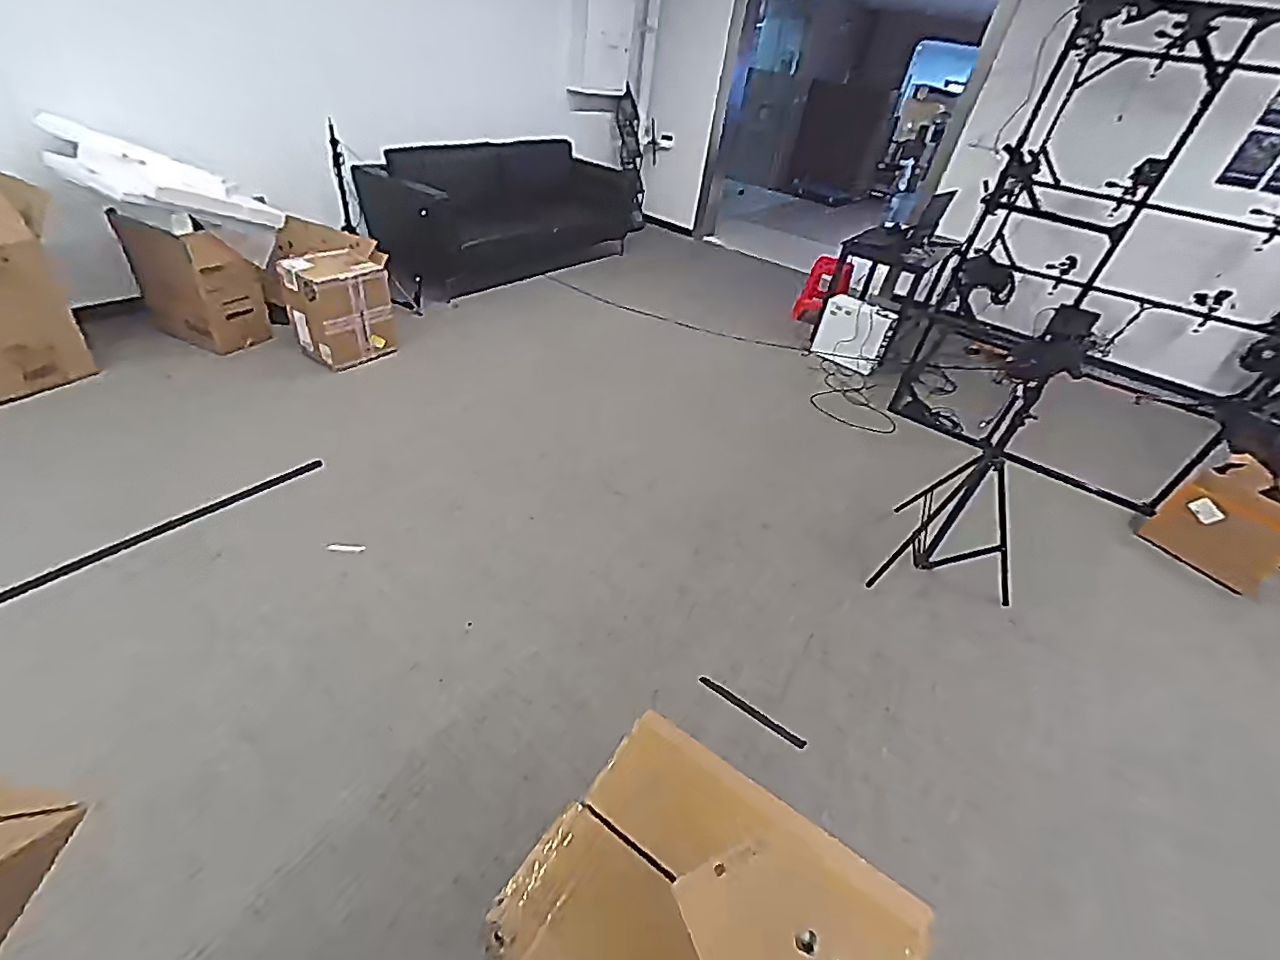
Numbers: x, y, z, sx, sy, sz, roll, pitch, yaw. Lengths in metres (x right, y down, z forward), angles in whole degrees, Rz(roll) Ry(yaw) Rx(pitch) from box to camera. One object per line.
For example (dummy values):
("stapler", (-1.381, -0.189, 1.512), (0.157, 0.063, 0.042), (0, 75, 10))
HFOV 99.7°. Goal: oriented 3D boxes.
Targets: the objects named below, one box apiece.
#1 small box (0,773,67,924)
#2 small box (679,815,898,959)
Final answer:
("small box", (-0.347, 0.179, 0.153), (0.168, 0.179, 0.176), (26, 69, -15))
("small box", (0.163, 0.514, 0.576), (0.168, 0.179, 0.176), (-23, 10, -12))
